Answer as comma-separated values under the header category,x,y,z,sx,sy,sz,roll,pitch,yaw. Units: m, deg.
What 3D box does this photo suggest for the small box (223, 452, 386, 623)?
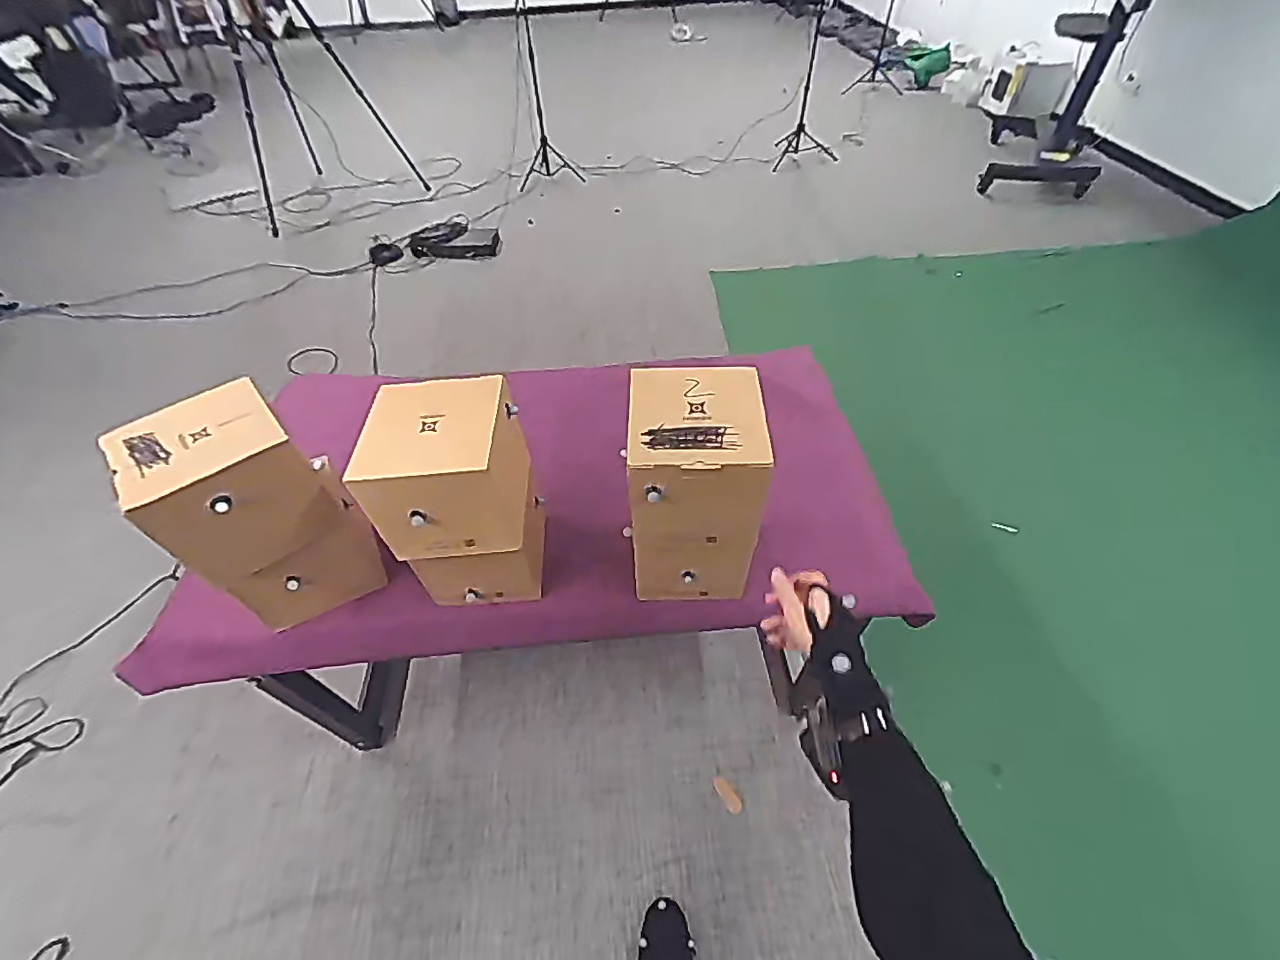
category,x,y,z,sx,sy,sz,roll,pitch,yaw
small box,-0.529,0.092,0.845,0.179,0.176,0.168,-24,53,-17

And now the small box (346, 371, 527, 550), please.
category,x,y,z,sx,sy,sz,roll,pitch,yaw
small box,-0.251,-0.020,0.720,0.168,0.176,0.179,-5,48,-1

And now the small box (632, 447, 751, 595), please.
category,x,y,z,sx,sy,sz,roll,pitch,yaw
small box,0.075,0.068,0.845,0.168,0.176,0.179,0,50,1

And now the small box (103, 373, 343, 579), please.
category,x,y,z,sx,sy,sz,roll,pitch,yaw
small box,-0.534,-0.004,0.710,0.179,0.176,0.168,-33,56,-26

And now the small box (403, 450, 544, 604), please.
category,x,y,z,sx,sy,sz,roll,pitch,yaw
small box,-0.249,0.074,0.853,0.168,0.176,0.179,-4,49,0
